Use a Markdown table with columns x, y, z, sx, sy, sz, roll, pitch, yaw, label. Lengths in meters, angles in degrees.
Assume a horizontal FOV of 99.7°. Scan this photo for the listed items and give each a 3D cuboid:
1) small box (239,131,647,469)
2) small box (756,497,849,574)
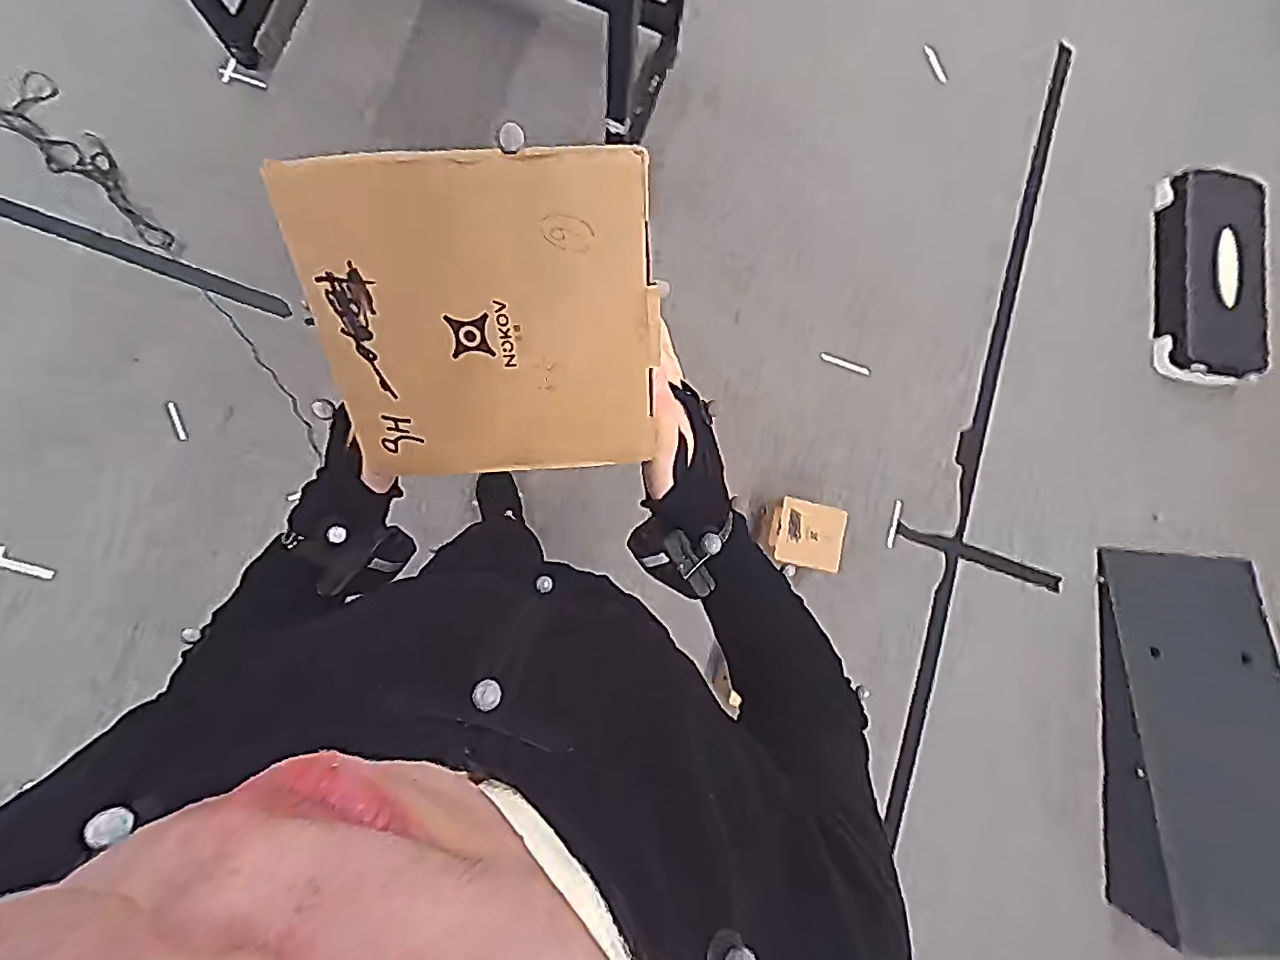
| x | y | z | sx | sy | sz | roll | pitch | yaw | label |
| --- | --- | --- | --- | --- | --- | --- | --- | --- | --- |
| -0.091 | -0.123 | 0.345 | 0.179 | 0.176 | 0.168 | -3 | 122 | -2 | small box |
| 0.429 | 0.150 | 1.455 | 0.179 | 0.176 | 0.168 | 14 | 83 | -4 | small box |
